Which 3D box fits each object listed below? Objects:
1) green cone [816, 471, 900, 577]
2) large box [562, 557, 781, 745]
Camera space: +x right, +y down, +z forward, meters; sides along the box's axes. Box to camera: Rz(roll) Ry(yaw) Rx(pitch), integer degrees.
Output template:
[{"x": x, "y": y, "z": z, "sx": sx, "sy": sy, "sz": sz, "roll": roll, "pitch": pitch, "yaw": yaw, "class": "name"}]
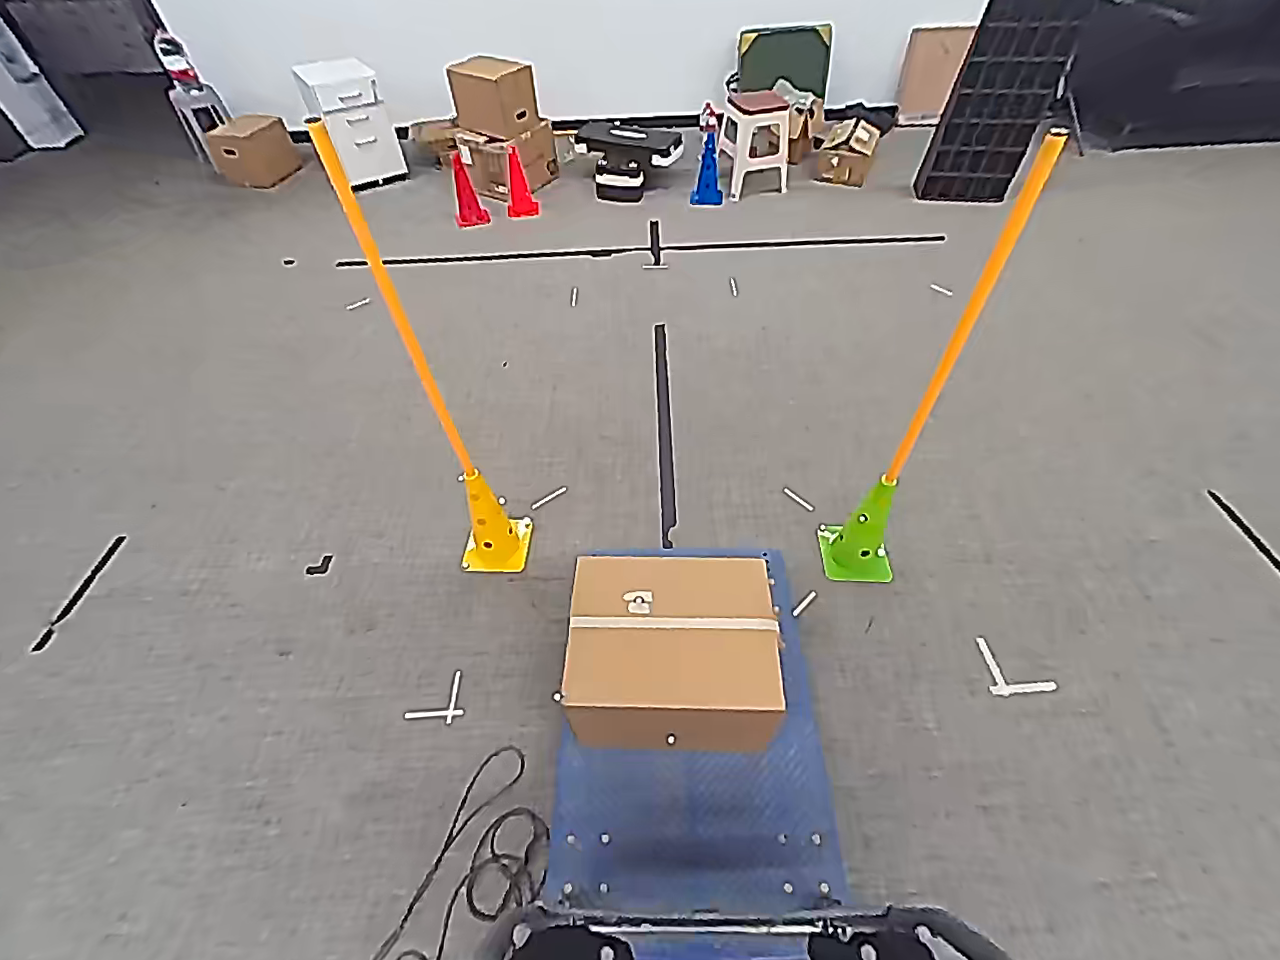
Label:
[{"x": 0.667, "y": 0.107, "z": 1.573, "sx": 0.202, "sy": 0.368, "sz": 0.200, "roll": 2, "pitch": 50, "yaw": 2, "class": "green cone"}, {"x": 0.066, "y": 0.379, "z": 1.180, "sx": 0.408, "sy": 0.320, "sz": 0.320, "roll": 0, "pitch": 50, "yaw": 3, "class": "large box"}]
